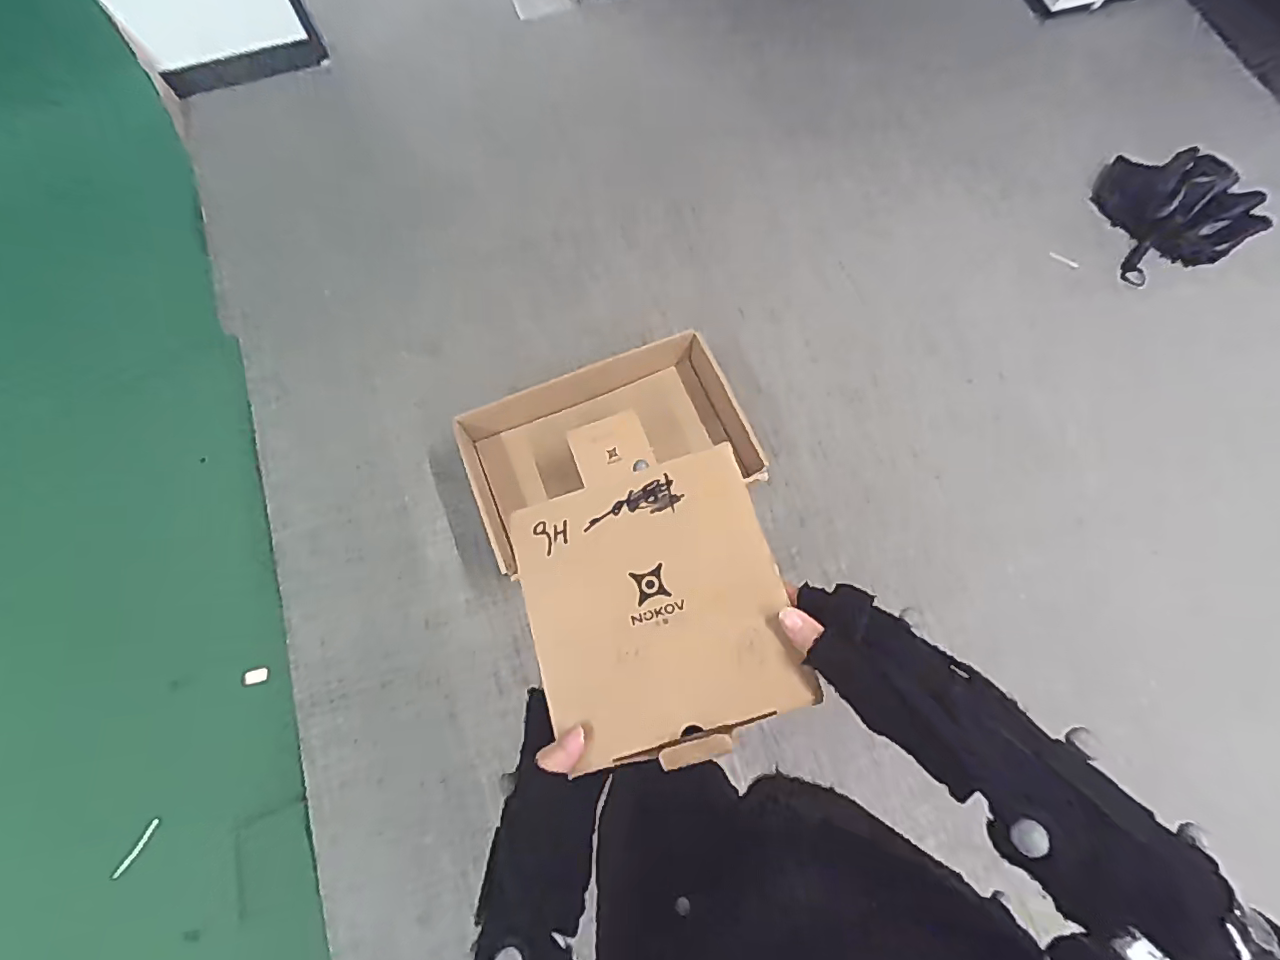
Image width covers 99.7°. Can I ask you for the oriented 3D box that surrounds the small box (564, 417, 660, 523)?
[{"bbox_3d":[-0.063,-0.013,1.242,0.168,0.176,0.179,-20,72,-9],"label":"small box"}]
